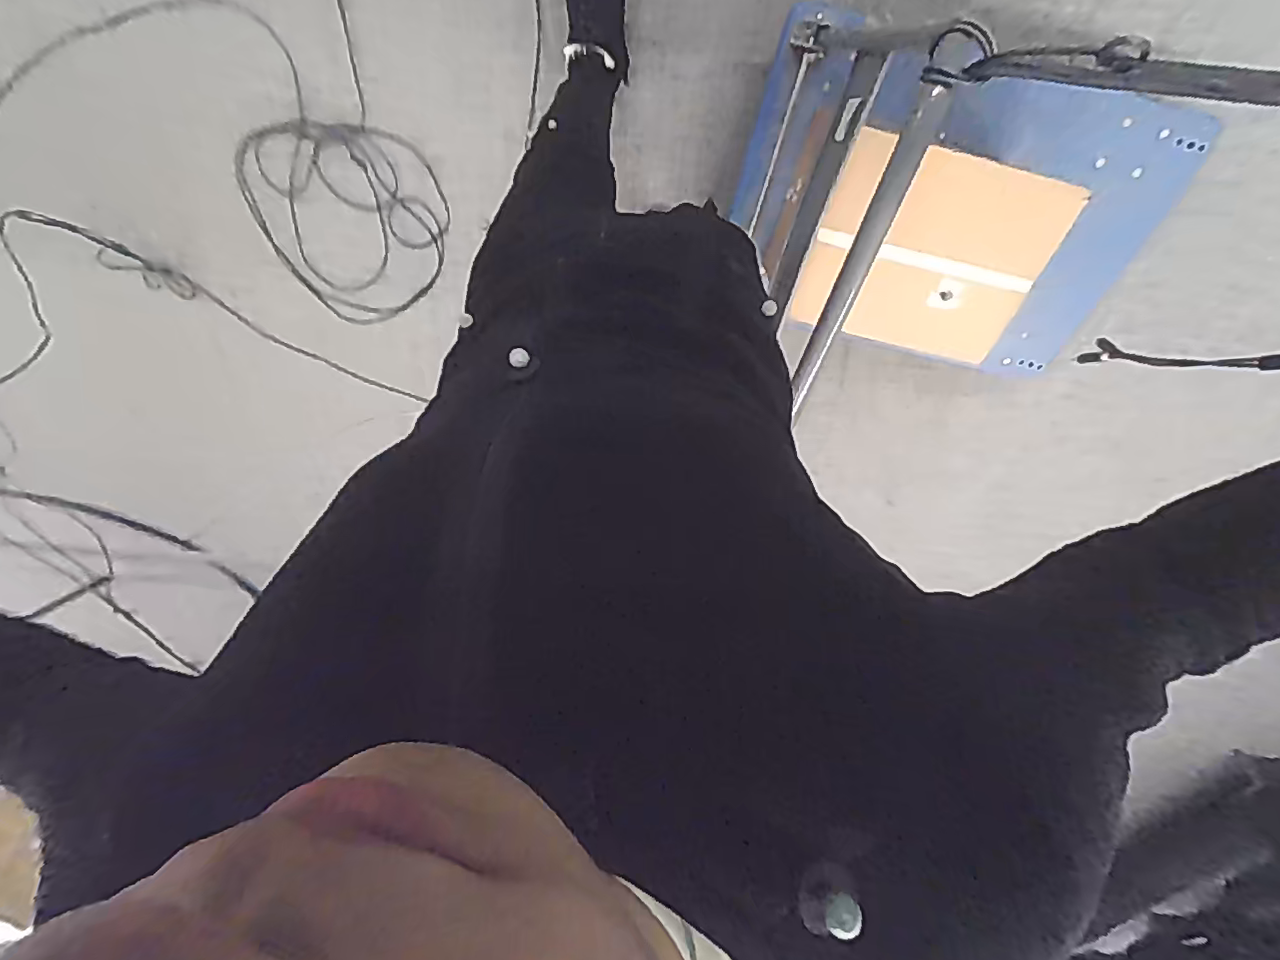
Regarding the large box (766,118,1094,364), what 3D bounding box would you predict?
[{"bbox_3d":[0.499,-0.465,1.042,0.408,0.320,0.320,12,128,-6],"label":"large box"}]
